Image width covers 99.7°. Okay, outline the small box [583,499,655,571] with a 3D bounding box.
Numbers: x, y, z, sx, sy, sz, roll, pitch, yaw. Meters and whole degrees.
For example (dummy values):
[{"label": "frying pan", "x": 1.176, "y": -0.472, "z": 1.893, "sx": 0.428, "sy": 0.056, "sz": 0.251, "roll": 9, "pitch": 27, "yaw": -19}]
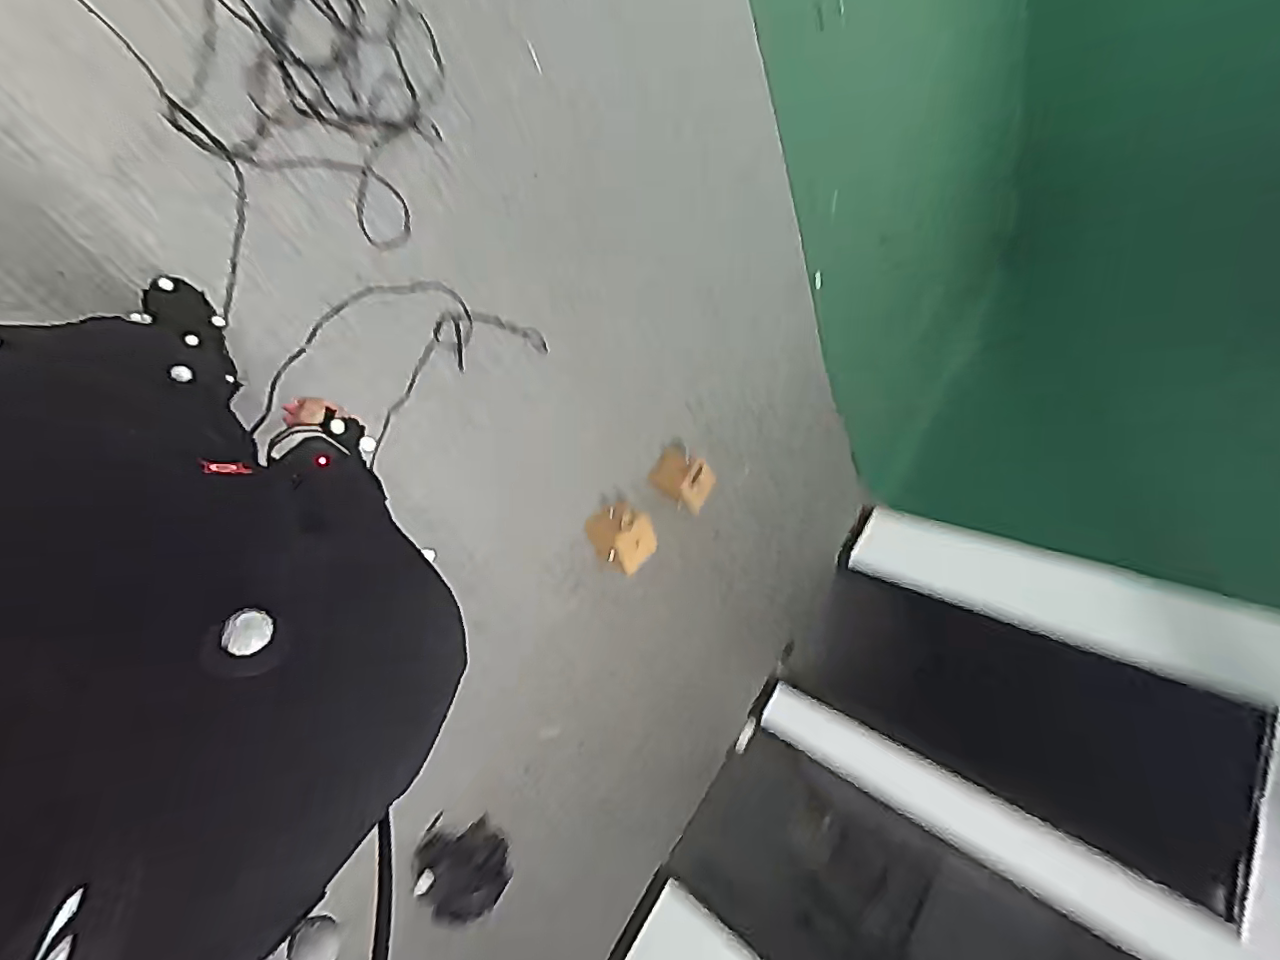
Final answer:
[{"label": "small box", "x": -0.076, "y": 0.195, "z": 1.970, "sx": 0.168, "sy": 0.176, "sz": 0.179, "roll": -43, "pitch": 131, "yaw": -29}]
